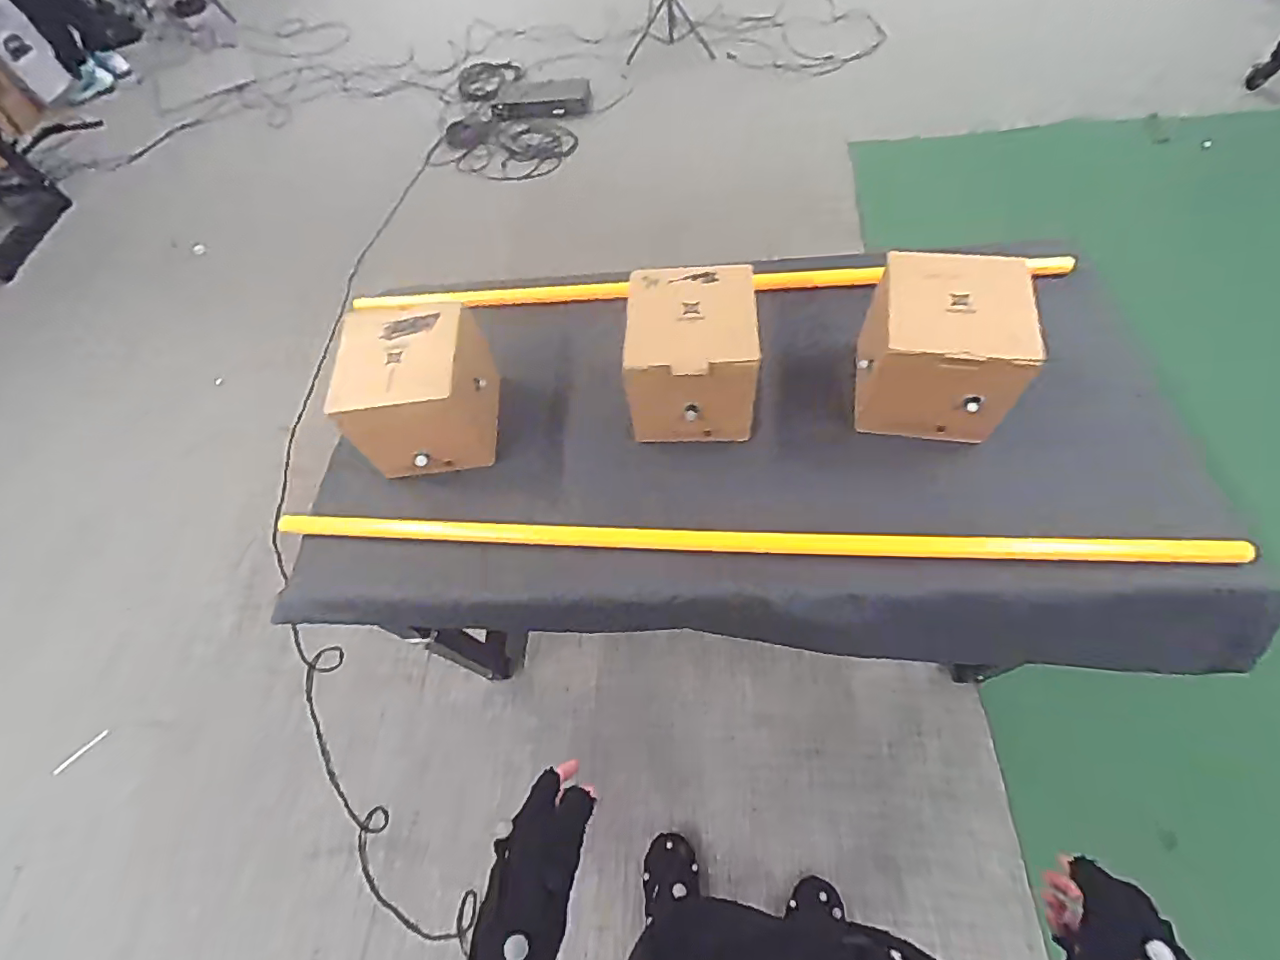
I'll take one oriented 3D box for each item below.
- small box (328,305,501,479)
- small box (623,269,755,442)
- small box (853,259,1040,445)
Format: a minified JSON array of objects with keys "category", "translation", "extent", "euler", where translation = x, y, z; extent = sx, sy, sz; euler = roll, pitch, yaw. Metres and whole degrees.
[{"category":"small box","translation":[-0.308,-0.122,0.782],"extent":[0.168,0.176,0.179],"euler":[-7,60,3]},{"category":"small box","translation":[0.071,-0.165,0.765],"extent":[0.168,0.176,0.179],"euler":[-3,59,7]},{"category":"small box","translation":[0.392,-0.166,0.725],"extent":[0.168,0.176,0.179],"euler":[8,60,10]}]
